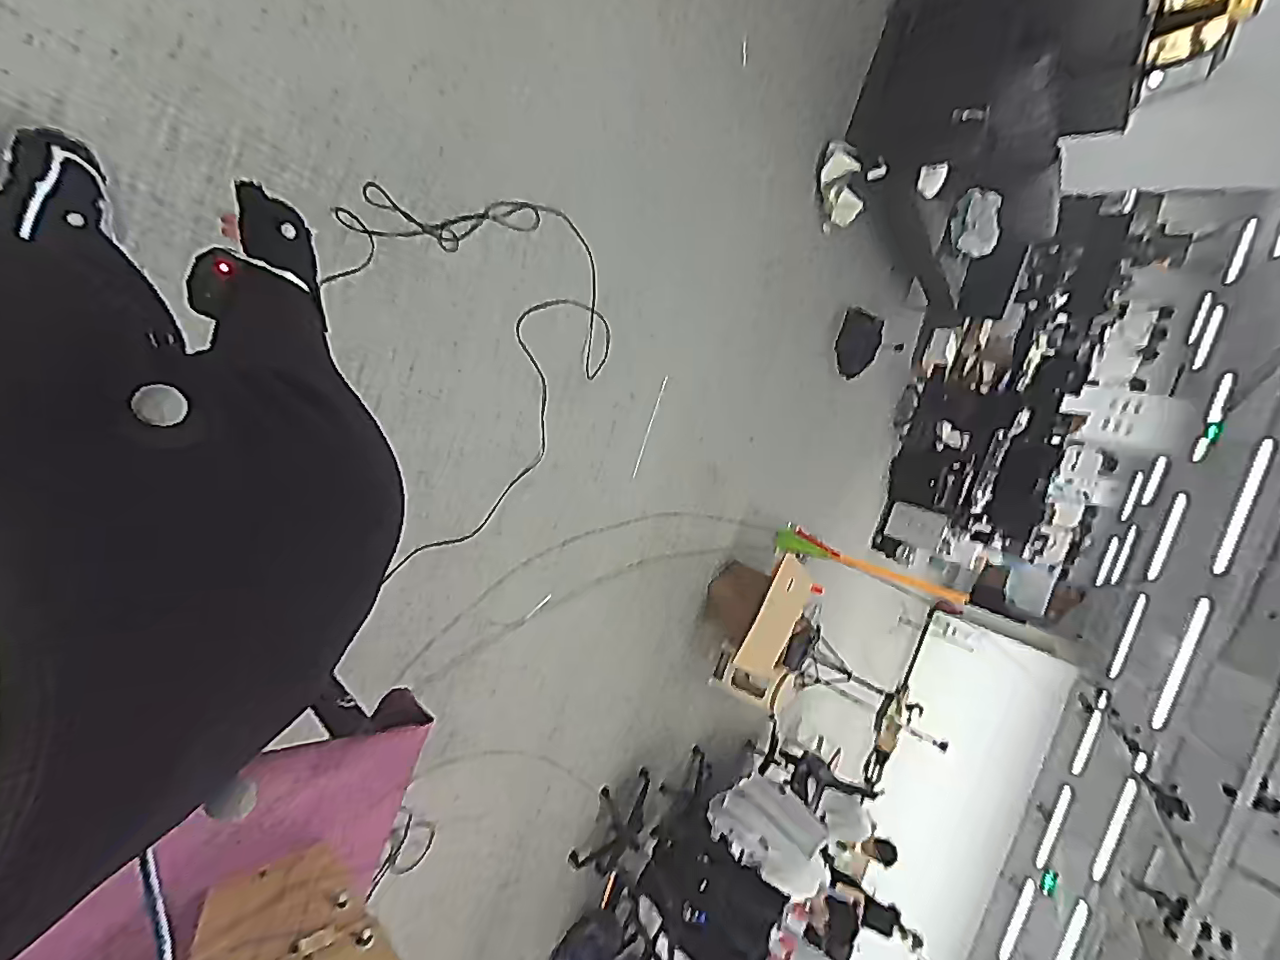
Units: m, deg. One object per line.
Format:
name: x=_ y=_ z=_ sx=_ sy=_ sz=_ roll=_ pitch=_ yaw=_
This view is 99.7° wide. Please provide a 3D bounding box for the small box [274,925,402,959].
small box: x=-0.416 y=0.740 z=0.708 sx=0.168 sy=0.176 sz=0.179 roll=20 pitch=91 yaw=-51
